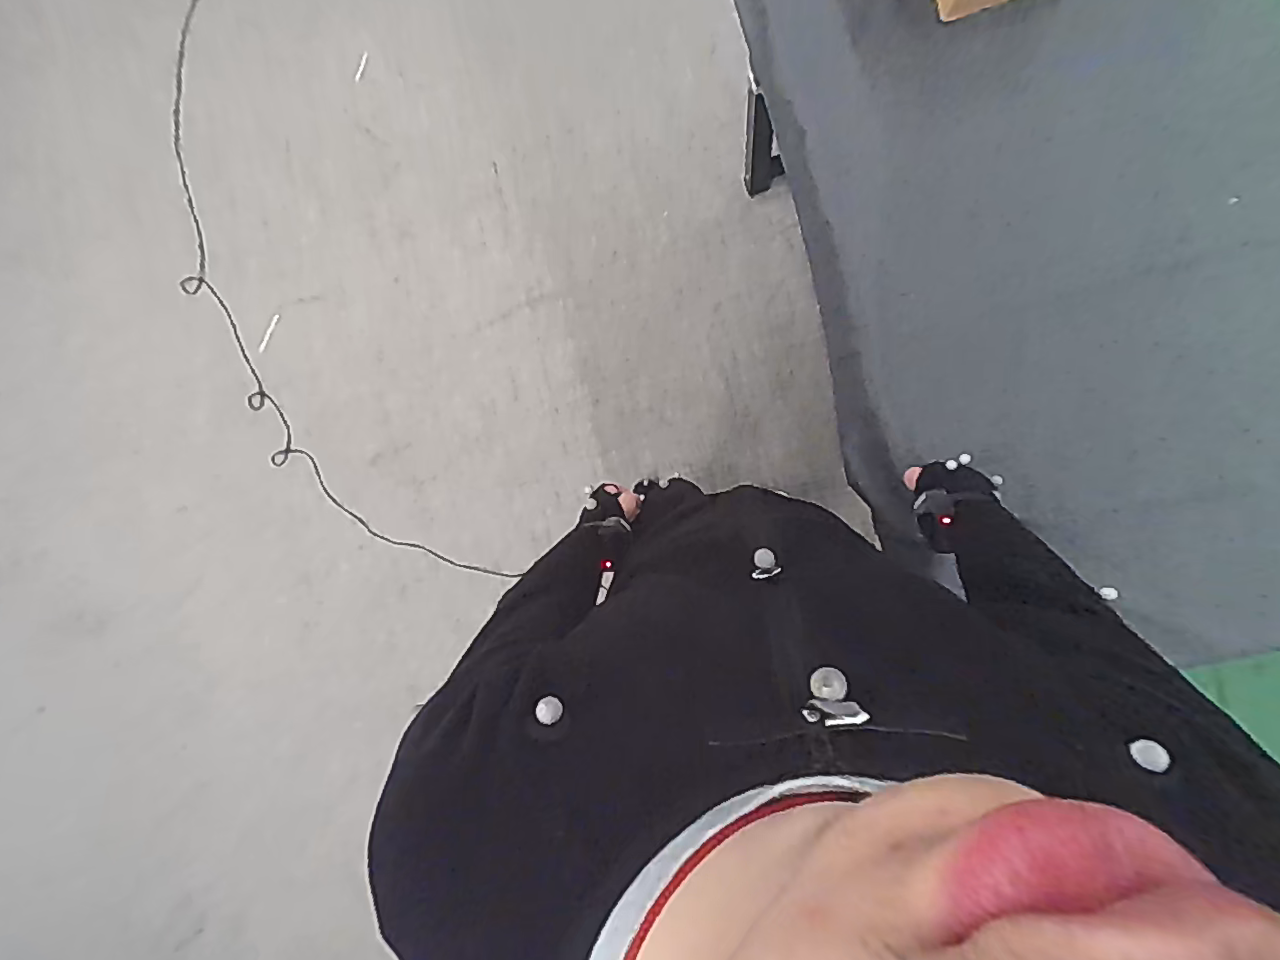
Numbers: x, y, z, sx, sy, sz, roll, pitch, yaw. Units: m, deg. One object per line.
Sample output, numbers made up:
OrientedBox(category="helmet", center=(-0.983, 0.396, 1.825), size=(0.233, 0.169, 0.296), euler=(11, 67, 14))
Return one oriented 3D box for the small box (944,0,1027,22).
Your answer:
OrientedBox(category="small box", center=(0.481, -0.727, 0.665), size=(0.179, 0.176, 0.168), euler=(-13, 90, 10))
